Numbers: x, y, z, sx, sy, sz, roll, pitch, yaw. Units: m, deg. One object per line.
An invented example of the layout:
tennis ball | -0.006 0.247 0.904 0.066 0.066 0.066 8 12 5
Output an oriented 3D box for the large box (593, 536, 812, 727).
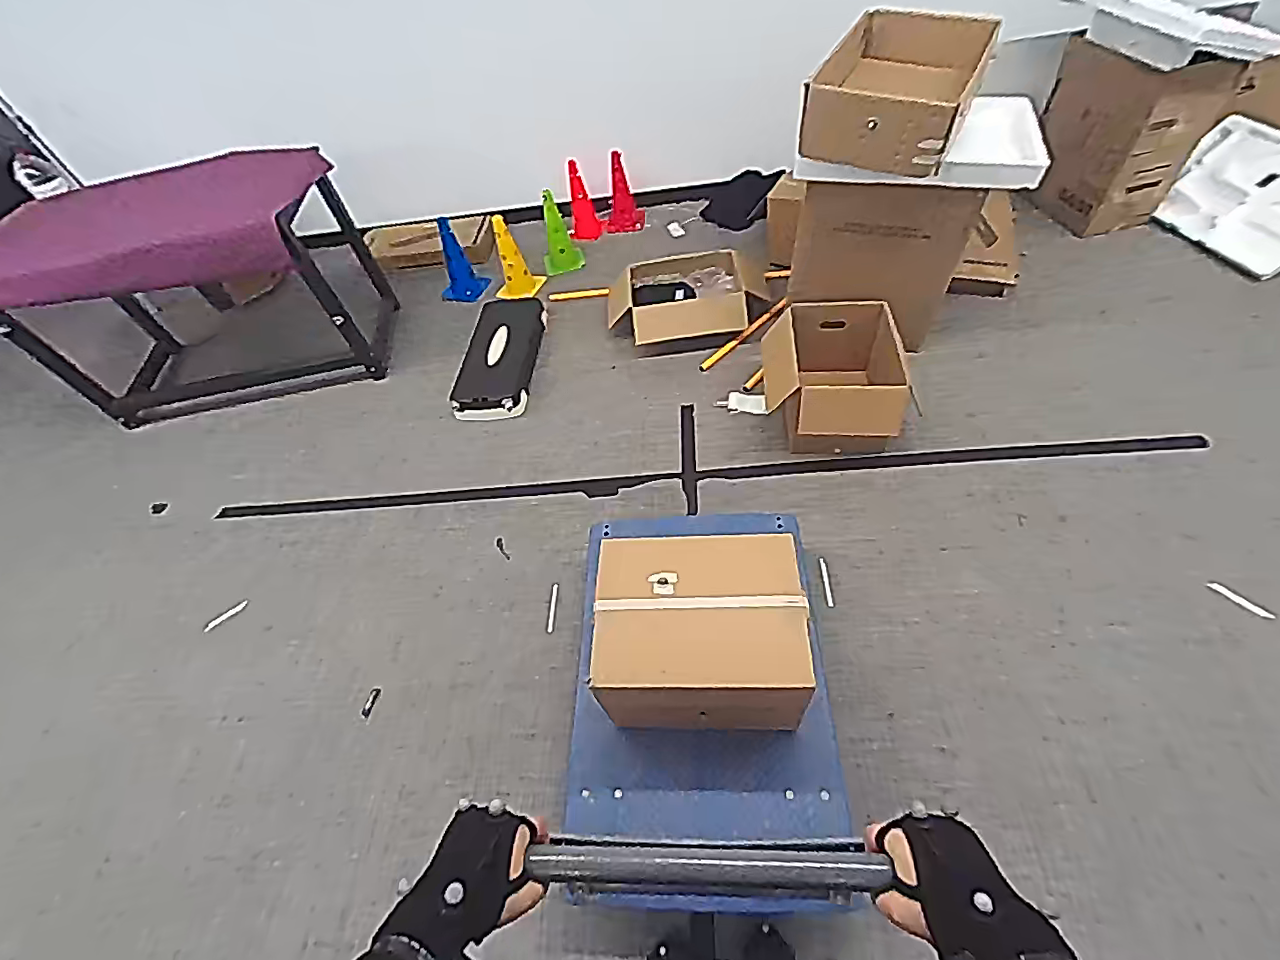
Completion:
large box | 0.133 0.342 1.180 0.408 0.320 0.320 -4 52 7
